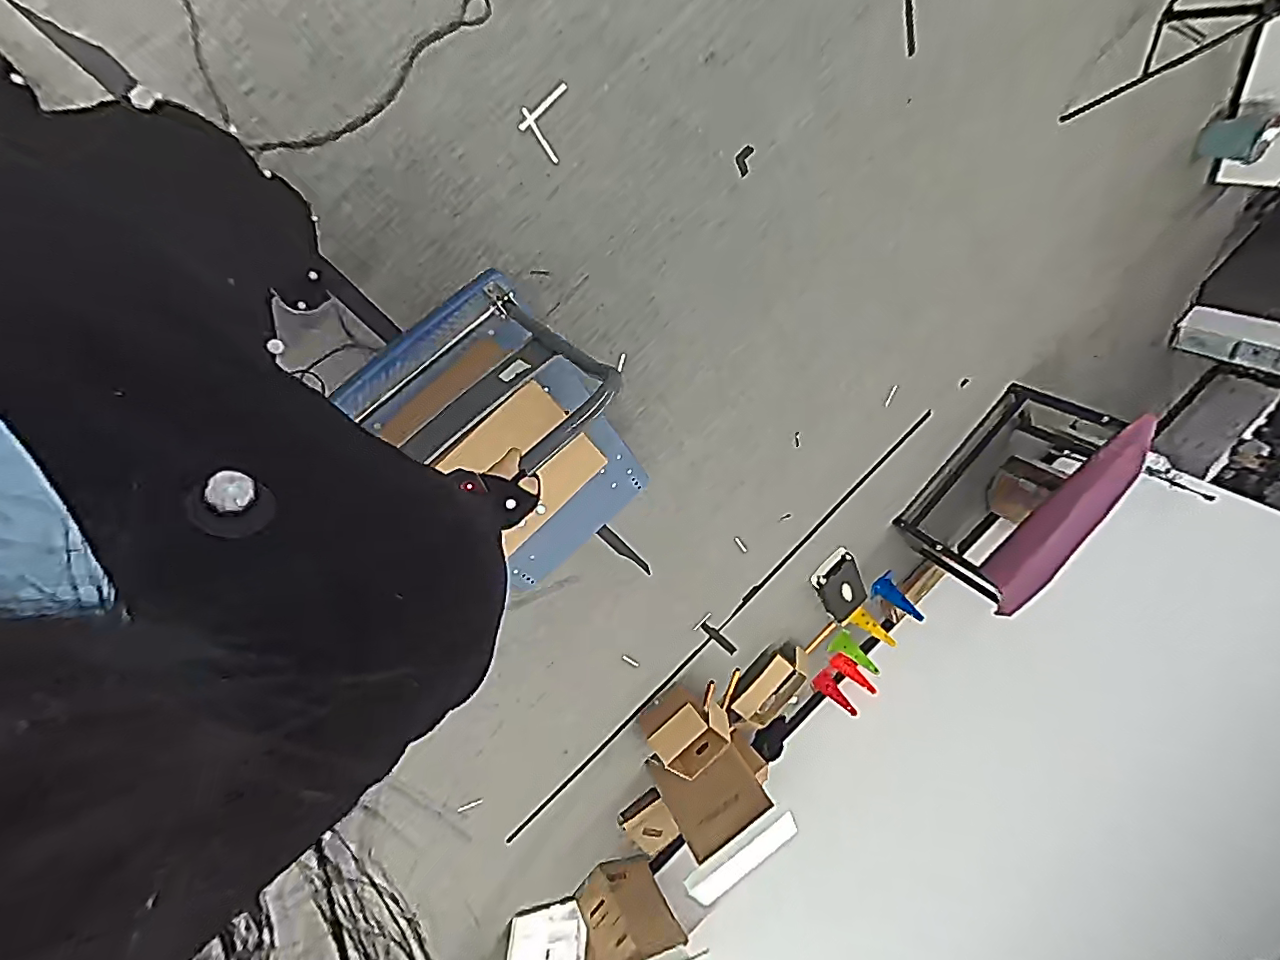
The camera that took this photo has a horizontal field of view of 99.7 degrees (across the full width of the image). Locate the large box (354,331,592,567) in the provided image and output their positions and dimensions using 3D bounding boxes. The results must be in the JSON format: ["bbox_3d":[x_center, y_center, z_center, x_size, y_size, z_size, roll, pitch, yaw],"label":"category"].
[{"bbox_3d":[-0.399,-0.078,1.301,0.408,0.320,0.320,-43,135,-3],"label":"large box"}]
